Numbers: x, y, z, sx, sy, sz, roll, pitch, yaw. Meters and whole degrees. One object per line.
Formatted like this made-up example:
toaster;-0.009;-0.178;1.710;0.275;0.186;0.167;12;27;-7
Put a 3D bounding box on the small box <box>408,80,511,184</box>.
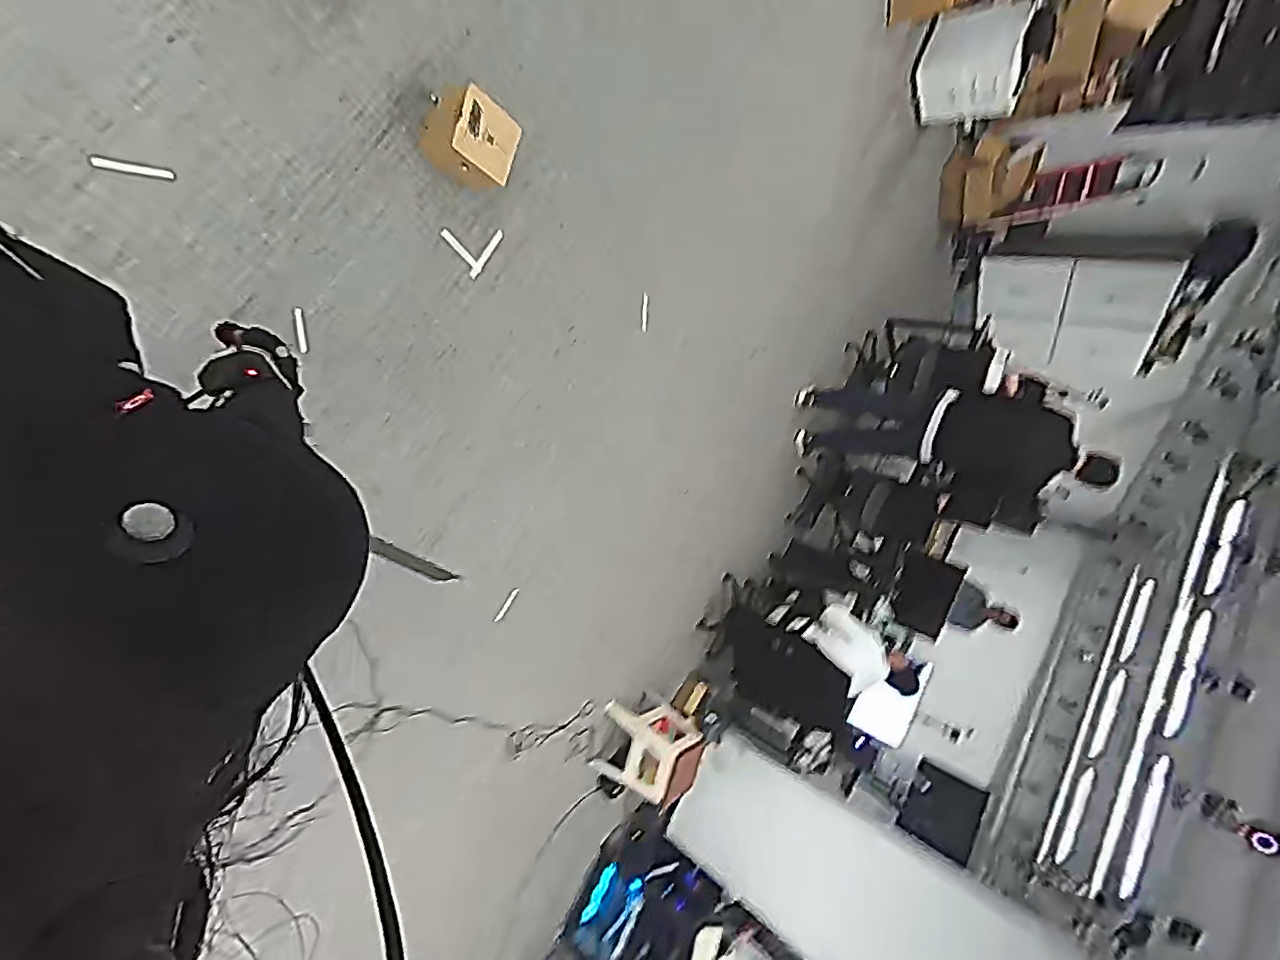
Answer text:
small box;-0.480;-0.907;1.433;0.179;0.176;0.168;17;93;-55
